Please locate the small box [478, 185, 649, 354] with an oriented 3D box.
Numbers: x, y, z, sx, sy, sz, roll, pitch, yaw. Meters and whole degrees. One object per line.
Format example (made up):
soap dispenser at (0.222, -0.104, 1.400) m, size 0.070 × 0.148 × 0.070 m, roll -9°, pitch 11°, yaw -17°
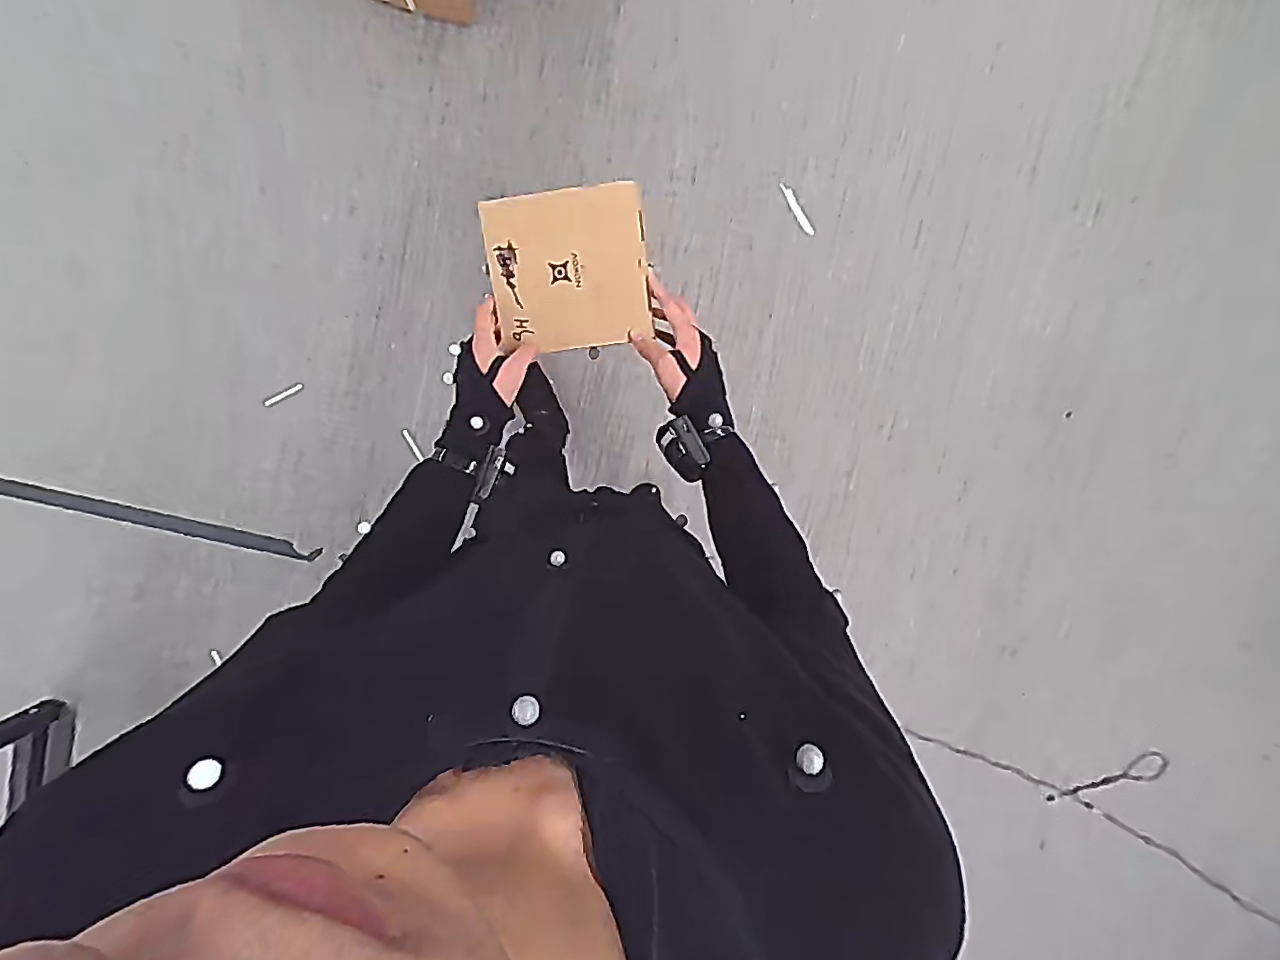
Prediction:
small box at (-0.082, -0.257, 0.687) m, size 0.179 × 0.176 × 0.168 m, roll -6°, pitch 106°, yaw 4°
